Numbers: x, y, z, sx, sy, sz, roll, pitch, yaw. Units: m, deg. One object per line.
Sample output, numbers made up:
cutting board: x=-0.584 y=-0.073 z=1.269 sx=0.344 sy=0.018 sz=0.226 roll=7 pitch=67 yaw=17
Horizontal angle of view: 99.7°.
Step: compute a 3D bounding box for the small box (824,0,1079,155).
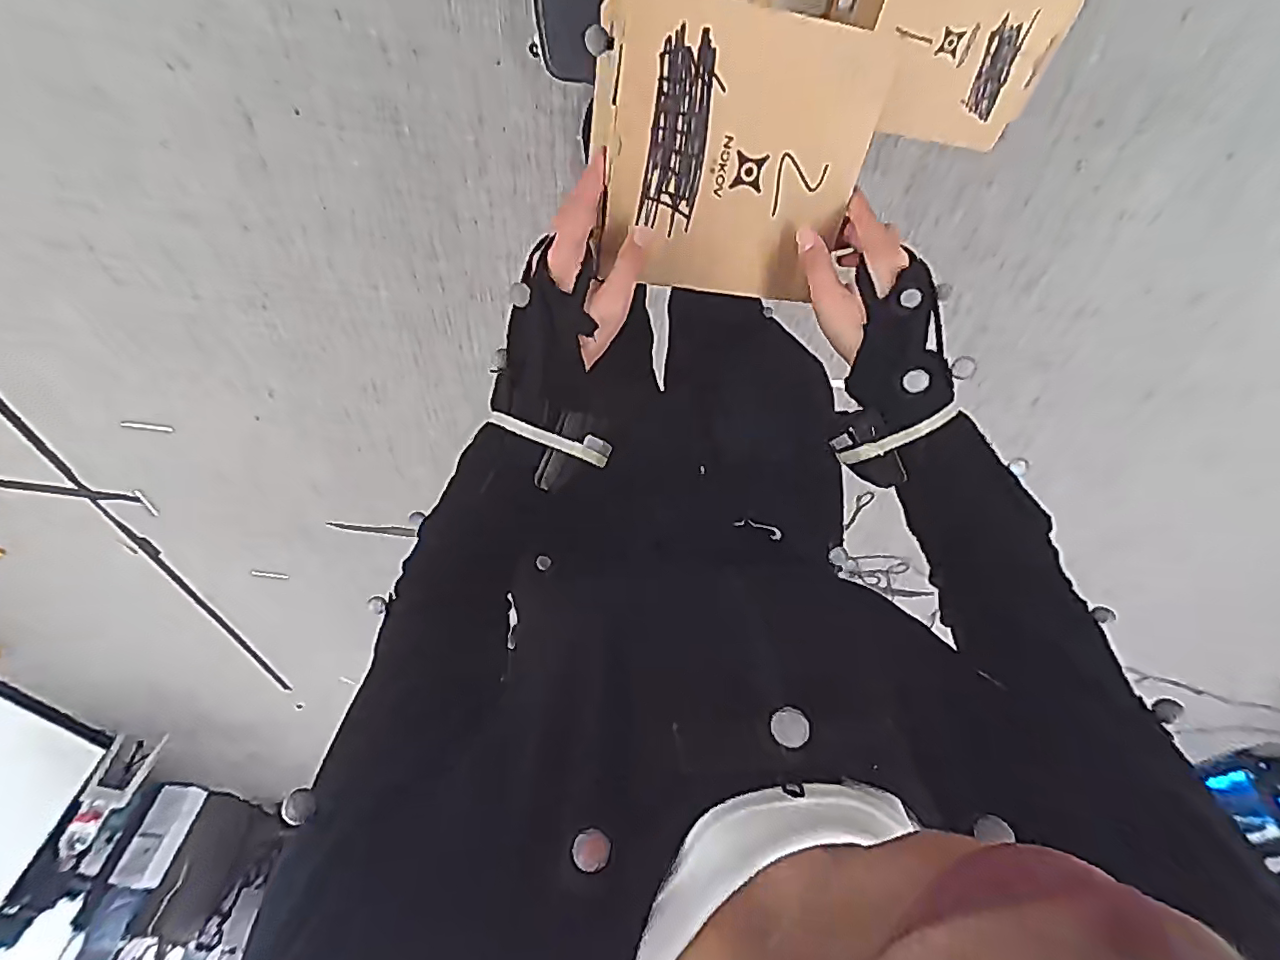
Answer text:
small box: x=0.324 y=-0.488 z=0.592 sx=0.179 sy=0.176 sz=0.168 roll=10 pitch=137 yaw=-3
